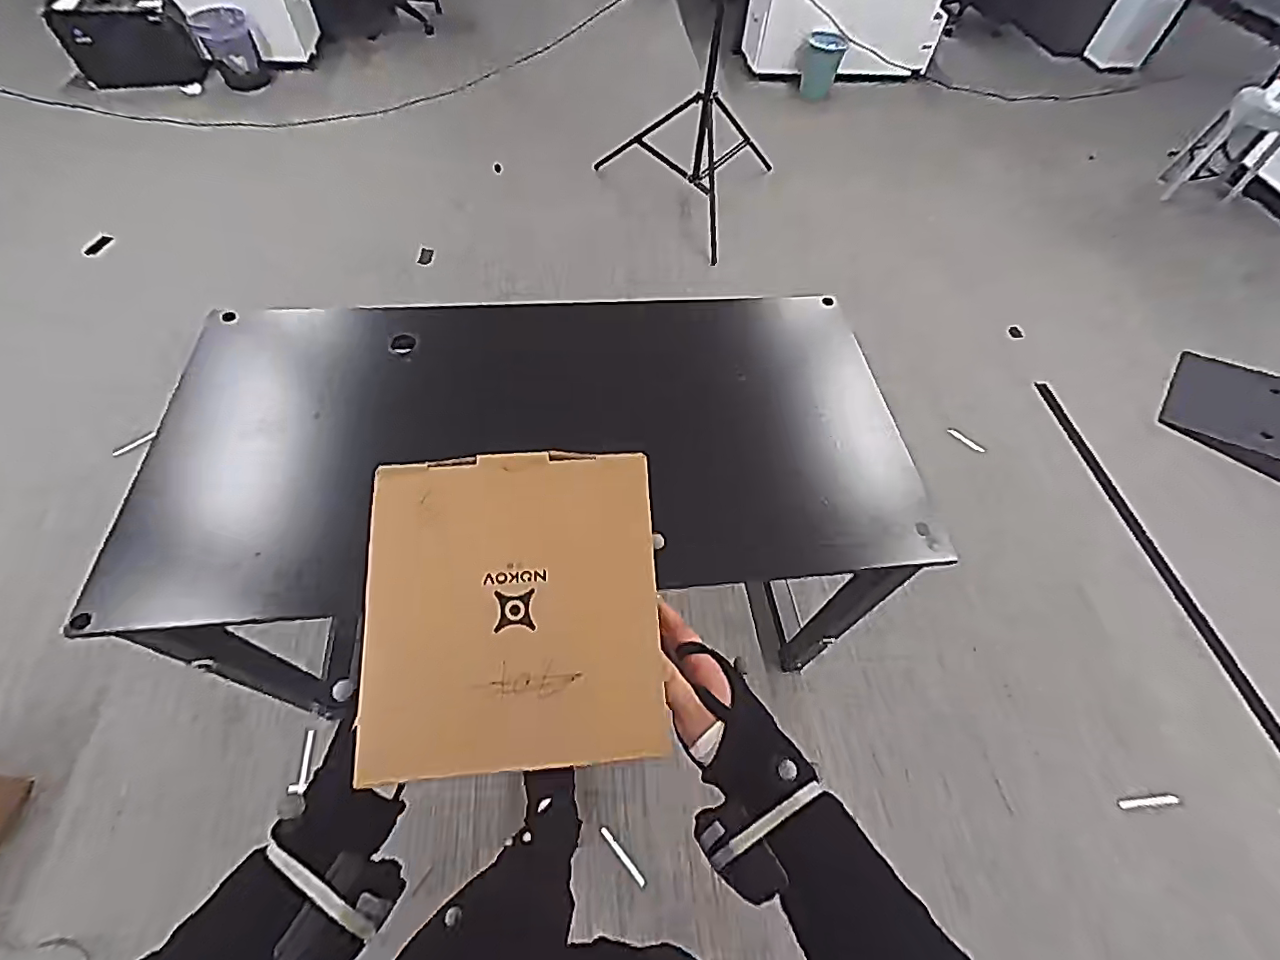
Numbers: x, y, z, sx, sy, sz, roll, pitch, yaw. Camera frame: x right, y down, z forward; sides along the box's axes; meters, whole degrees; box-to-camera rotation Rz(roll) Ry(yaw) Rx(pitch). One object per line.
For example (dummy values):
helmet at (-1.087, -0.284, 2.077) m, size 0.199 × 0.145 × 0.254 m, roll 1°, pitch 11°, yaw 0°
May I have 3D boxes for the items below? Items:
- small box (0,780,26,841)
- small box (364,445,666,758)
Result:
small box at (-1.418, 0.693, 1.080) m, size 0.168 × 0.176 × 0.179 m, roll 4°, pitch 57°, yaw -1°
small box at (-0.077, 0.086, 0.395) m, size 0.168 × 0.176 × 0.179 m, roll -3°, pitch 74°, yaw -5°
